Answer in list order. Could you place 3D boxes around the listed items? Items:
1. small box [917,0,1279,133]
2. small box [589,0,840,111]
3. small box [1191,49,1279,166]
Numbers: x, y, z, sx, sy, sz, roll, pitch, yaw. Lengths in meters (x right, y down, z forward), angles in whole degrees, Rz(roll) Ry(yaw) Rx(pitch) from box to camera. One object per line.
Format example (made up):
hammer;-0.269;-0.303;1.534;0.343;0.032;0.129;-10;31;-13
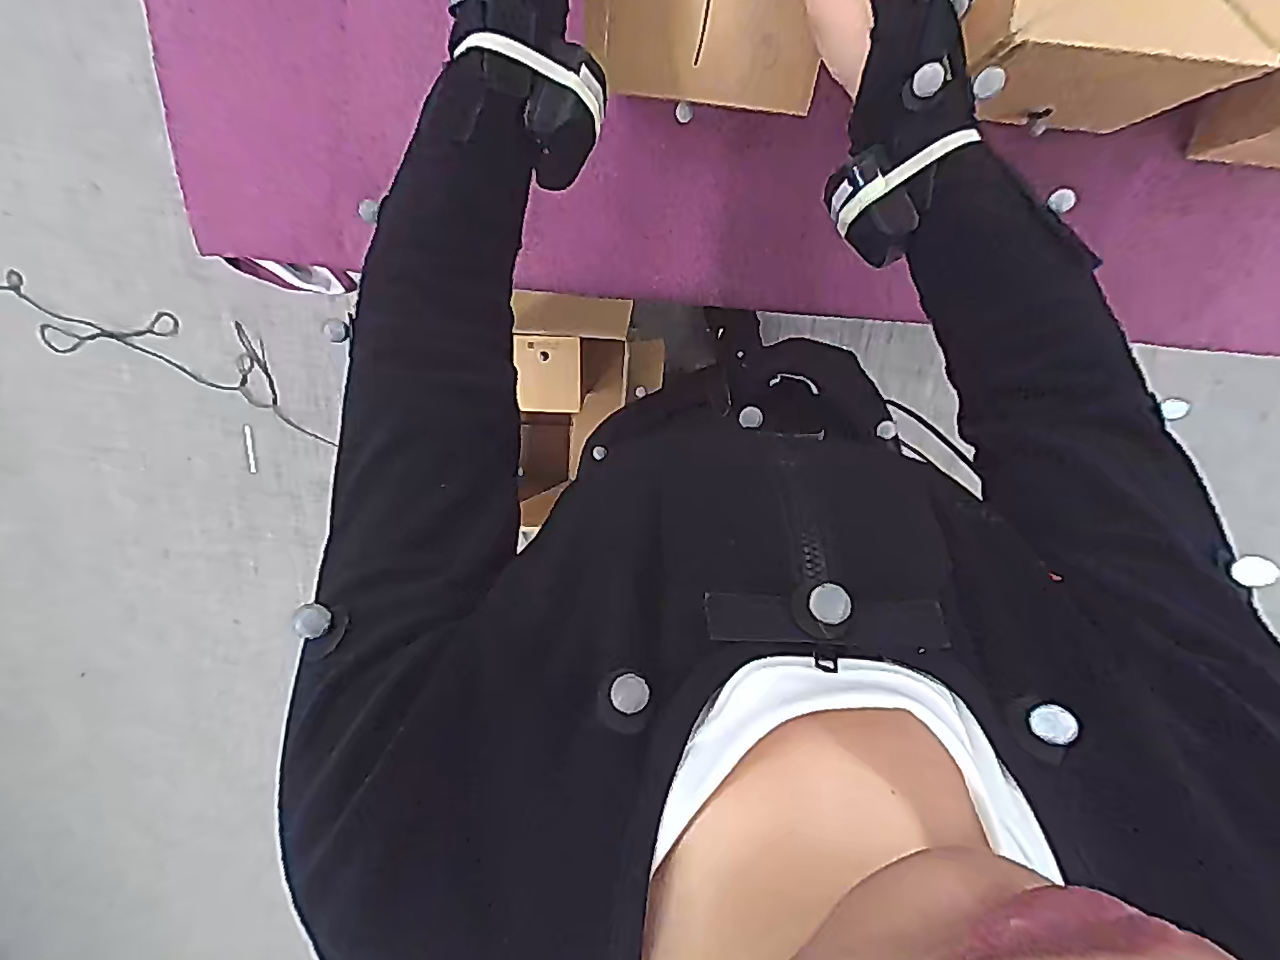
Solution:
small box;0.343;-0.381;0.397;0.179;0.176;0.168;9;109;4
small box;0.060;-0.391;0.403;0.168;0.176;0.179;8;126;1
small box;0.585;-0.336;0.388;0.179;0.176;0.168;8;108;3
